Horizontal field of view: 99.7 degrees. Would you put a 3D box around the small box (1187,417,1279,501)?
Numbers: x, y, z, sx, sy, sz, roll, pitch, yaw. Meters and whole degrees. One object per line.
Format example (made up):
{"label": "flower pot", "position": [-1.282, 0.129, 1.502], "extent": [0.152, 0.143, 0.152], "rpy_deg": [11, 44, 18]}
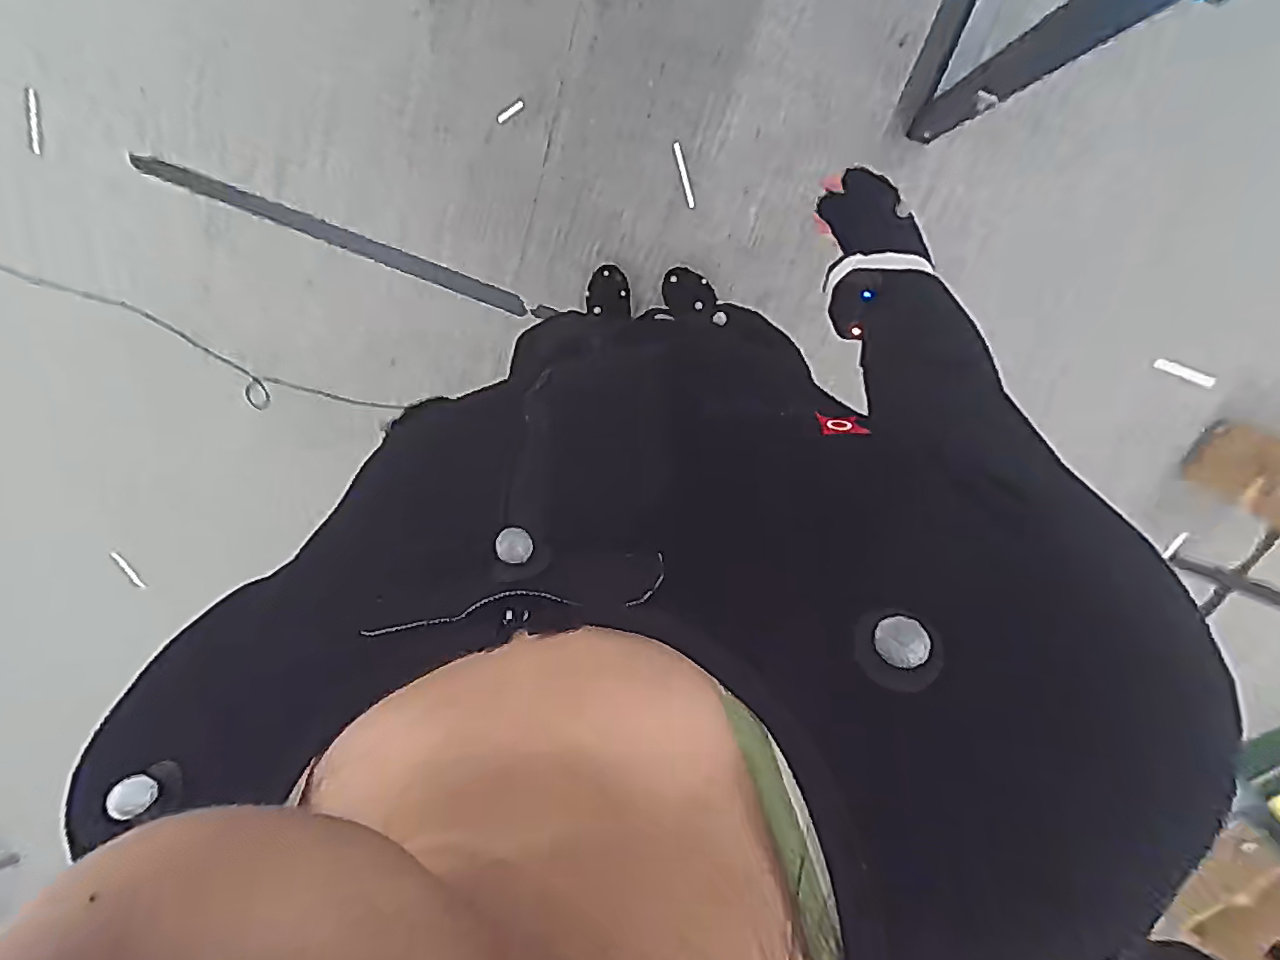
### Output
{"label": "small box", "position": [1.455, -0.034, 1.251], "extent": [0.179, 0.176, 0.168], "rpy_deg": [18, 113, -1]}

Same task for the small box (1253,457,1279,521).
{"label": "small box", "position": [1.449, 0.028, 1.099], "extent": [0.179, 0.176, 0.168], "rpy_deg": [7, 112, 6]}
